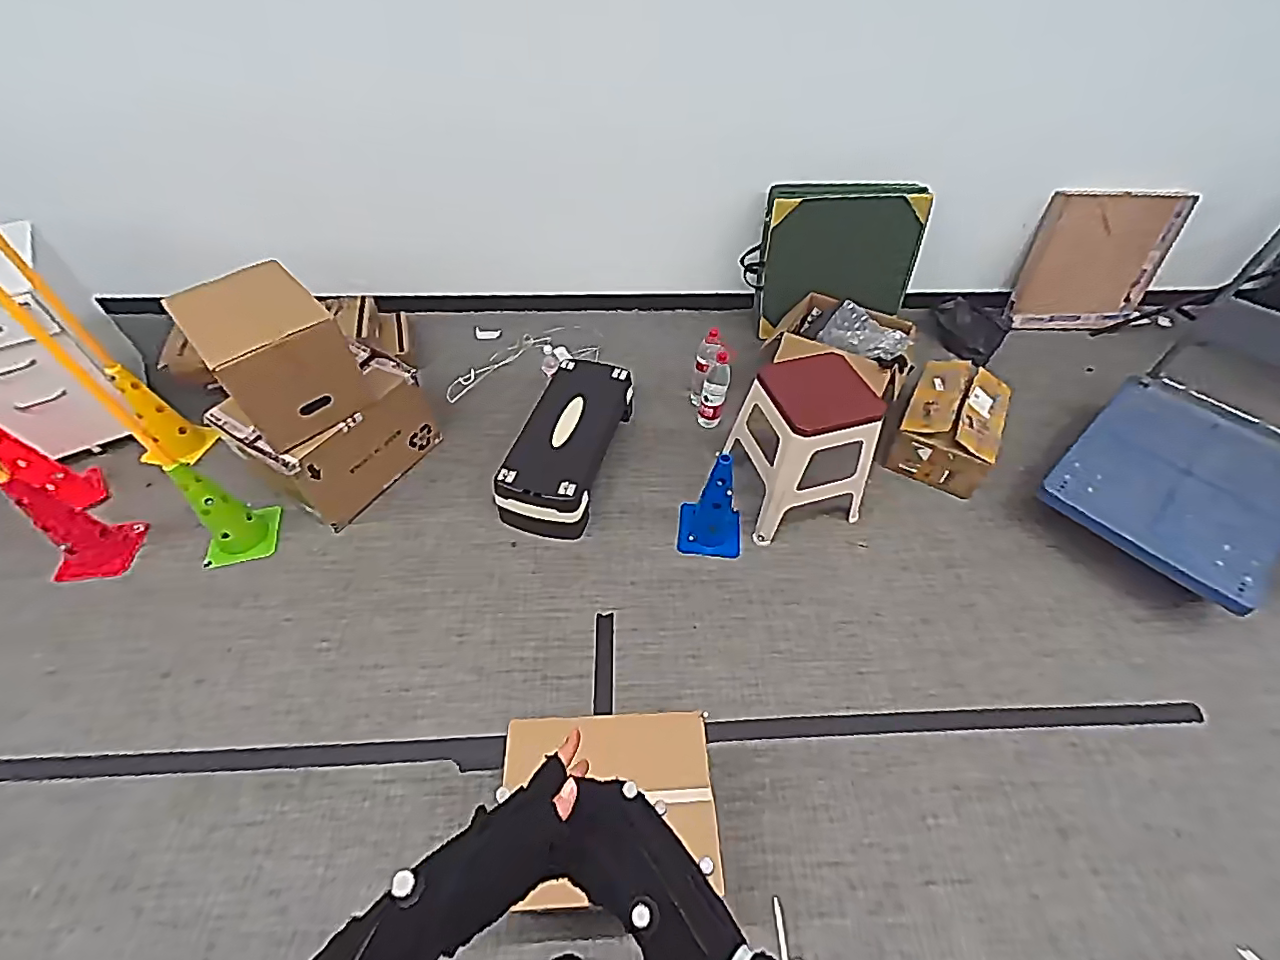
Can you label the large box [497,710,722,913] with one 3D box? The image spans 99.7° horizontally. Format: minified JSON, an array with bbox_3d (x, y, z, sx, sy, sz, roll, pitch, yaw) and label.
[{"bbox_3d":[-0.068,0.705,1.150,0.408,0.320,0.320,-1,51,-4],"label":"large box"}]
